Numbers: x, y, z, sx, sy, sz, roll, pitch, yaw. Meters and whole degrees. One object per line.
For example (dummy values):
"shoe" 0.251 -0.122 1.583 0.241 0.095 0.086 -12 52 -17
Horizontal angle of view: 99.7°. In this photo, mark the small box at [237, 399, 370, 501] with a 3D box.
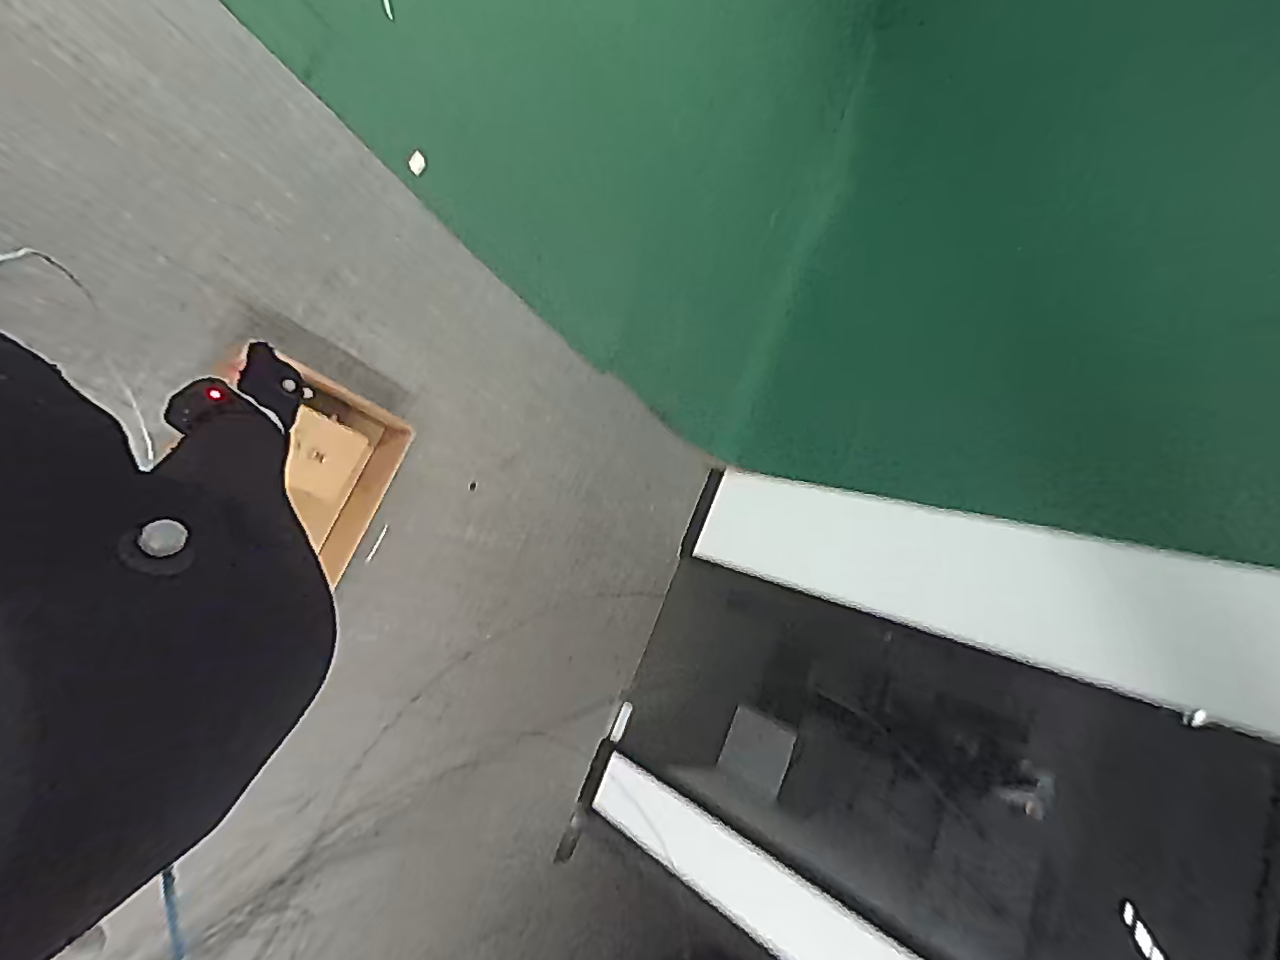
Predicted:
"small box" -0.768 -0.073 1.236 0.179 0.176 0.168 38 71 -49
